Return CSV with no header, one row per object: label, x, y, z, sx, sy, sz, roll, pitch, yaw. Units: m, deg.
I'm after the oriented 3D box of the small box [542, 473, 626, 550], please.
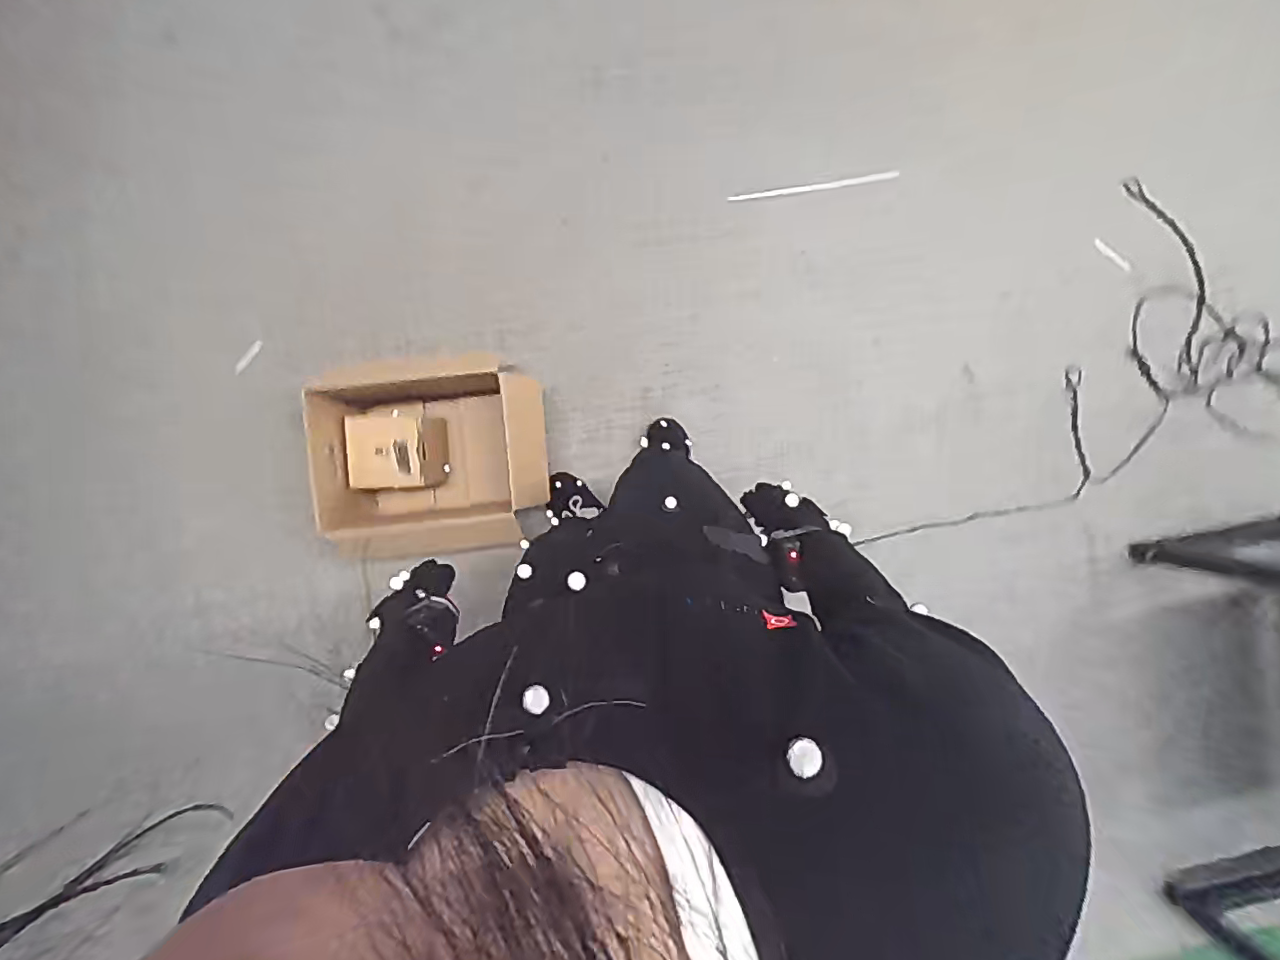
small box,-0.146,0.078,1.428,0.179,0.176,0.168,1,104,15
